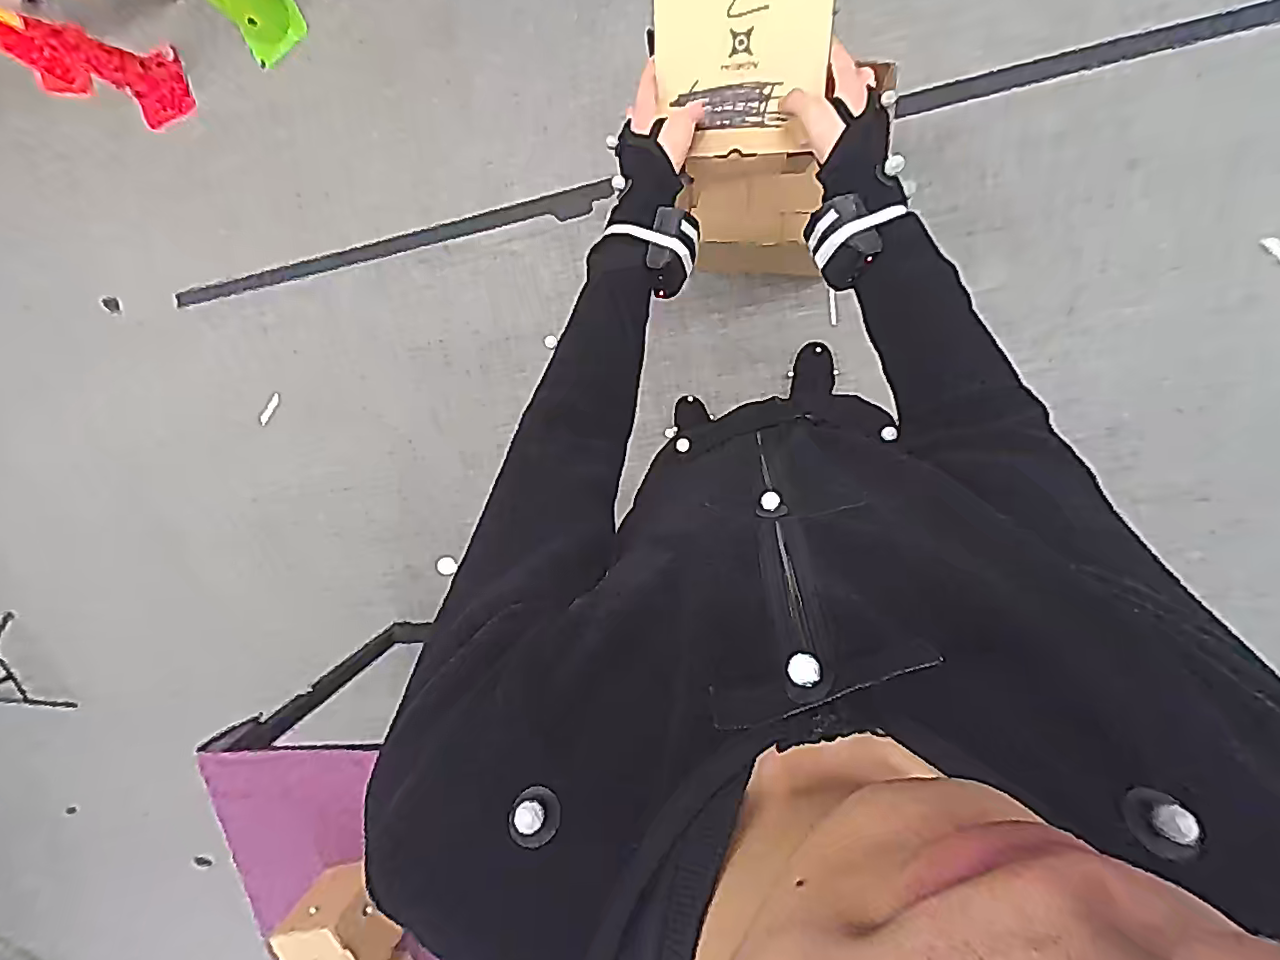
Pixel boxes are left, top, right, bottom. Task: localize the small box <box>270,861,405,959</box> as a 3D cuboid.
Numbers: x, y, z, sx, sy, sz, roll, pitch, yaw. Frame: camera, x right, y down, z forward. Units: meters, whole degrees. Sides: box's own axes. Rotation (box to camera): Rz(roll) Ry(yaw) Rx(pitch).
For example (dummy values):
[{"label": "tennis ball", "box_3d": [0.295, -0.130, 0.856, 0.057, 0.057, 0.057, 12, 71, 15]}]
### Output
[{"label": "small box", "box_3d": [-0.653, 0.985, 1.197, 0.179, 0.176, 0.168, -20, 97, 15]}]
